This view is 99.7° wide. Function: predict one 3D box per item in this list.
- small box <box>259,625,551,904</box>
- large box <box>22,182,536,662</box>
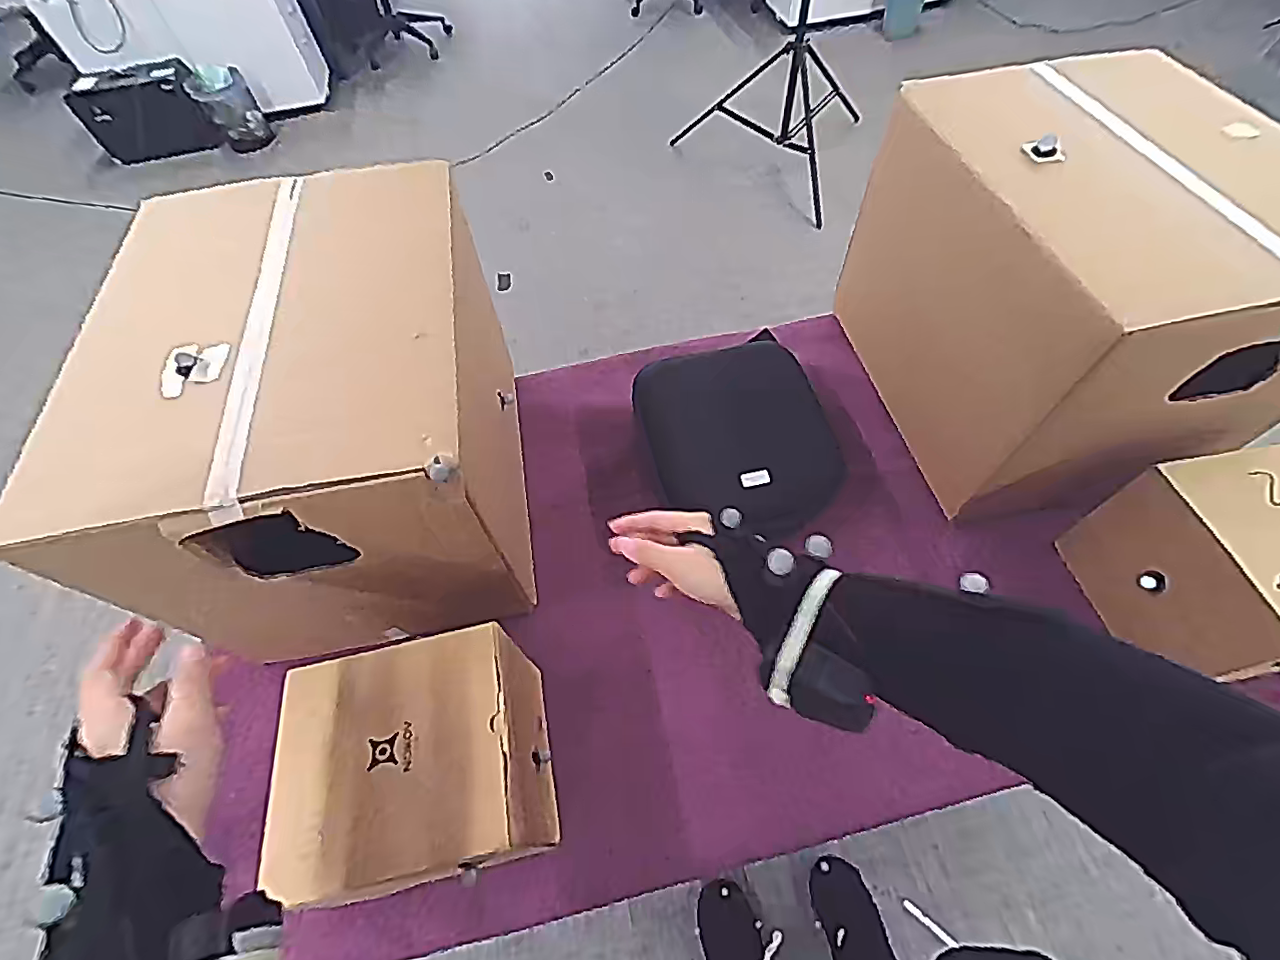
[{"bbox_3d":[-0.190,0.254,0.486,0.179,0.176,0.168,-13,56,-5],"label":"small box"},{"bbox_3d":[-0.315,-0.057,0.607,0.320,0.320,0.408,-11,60,-4],"label":"large box"}]
